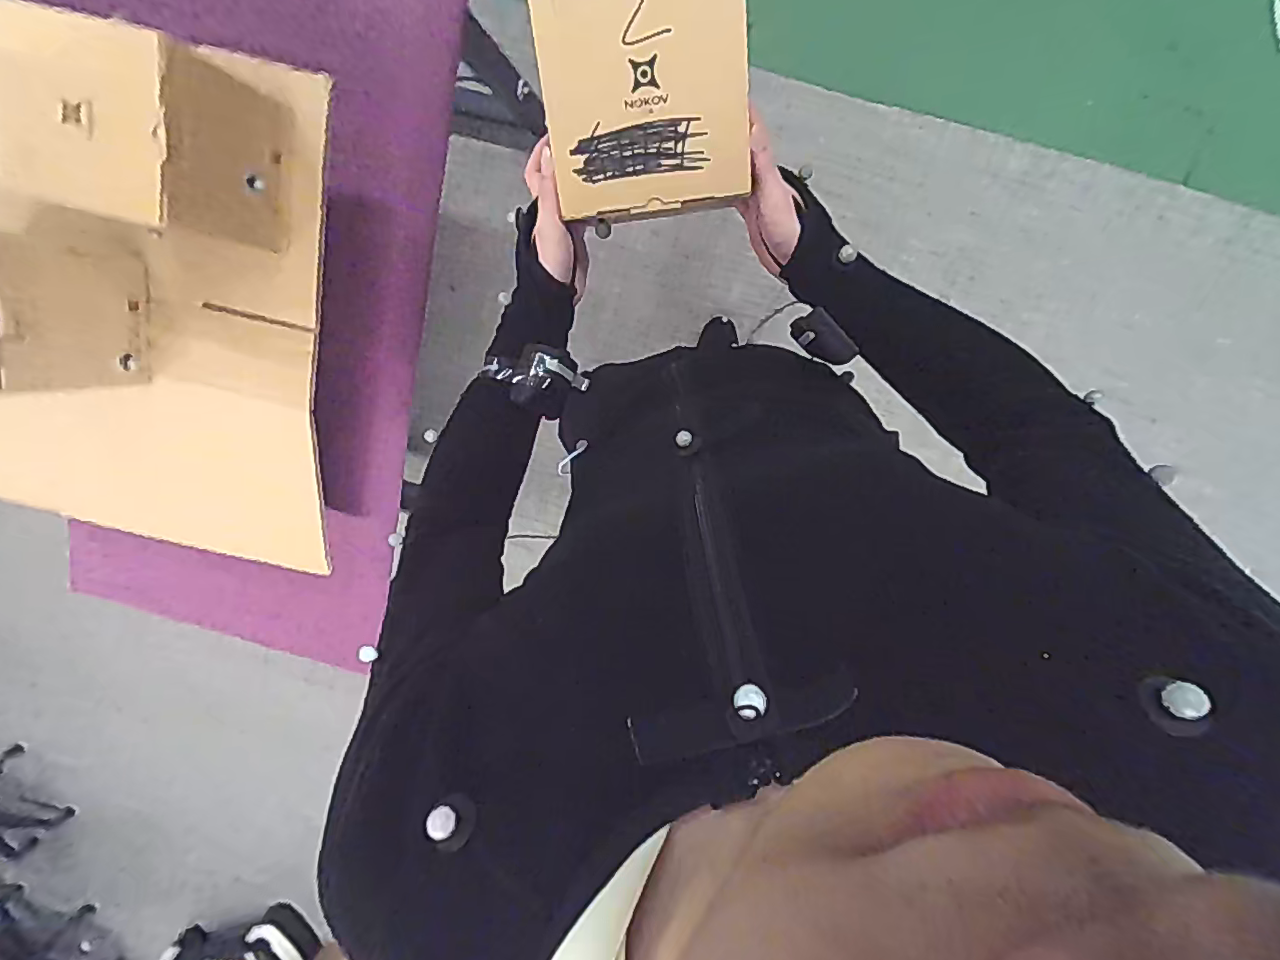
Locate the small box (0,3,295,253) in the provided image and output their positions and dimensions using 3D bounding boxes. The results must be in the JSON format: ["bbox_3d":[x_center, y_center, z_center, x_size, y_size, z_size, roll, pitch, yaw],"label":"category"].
[{"bbox_3d":[-0.516,-0.356,0.583,0.179,0.176,0.168,13,105,1],"label":"small box"}]

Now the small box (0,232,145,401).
[{"bbox_3d":[-0.740,-0.200,0.642,0.179,0.176,0.168,13,104,3],"label":"small box"}]
